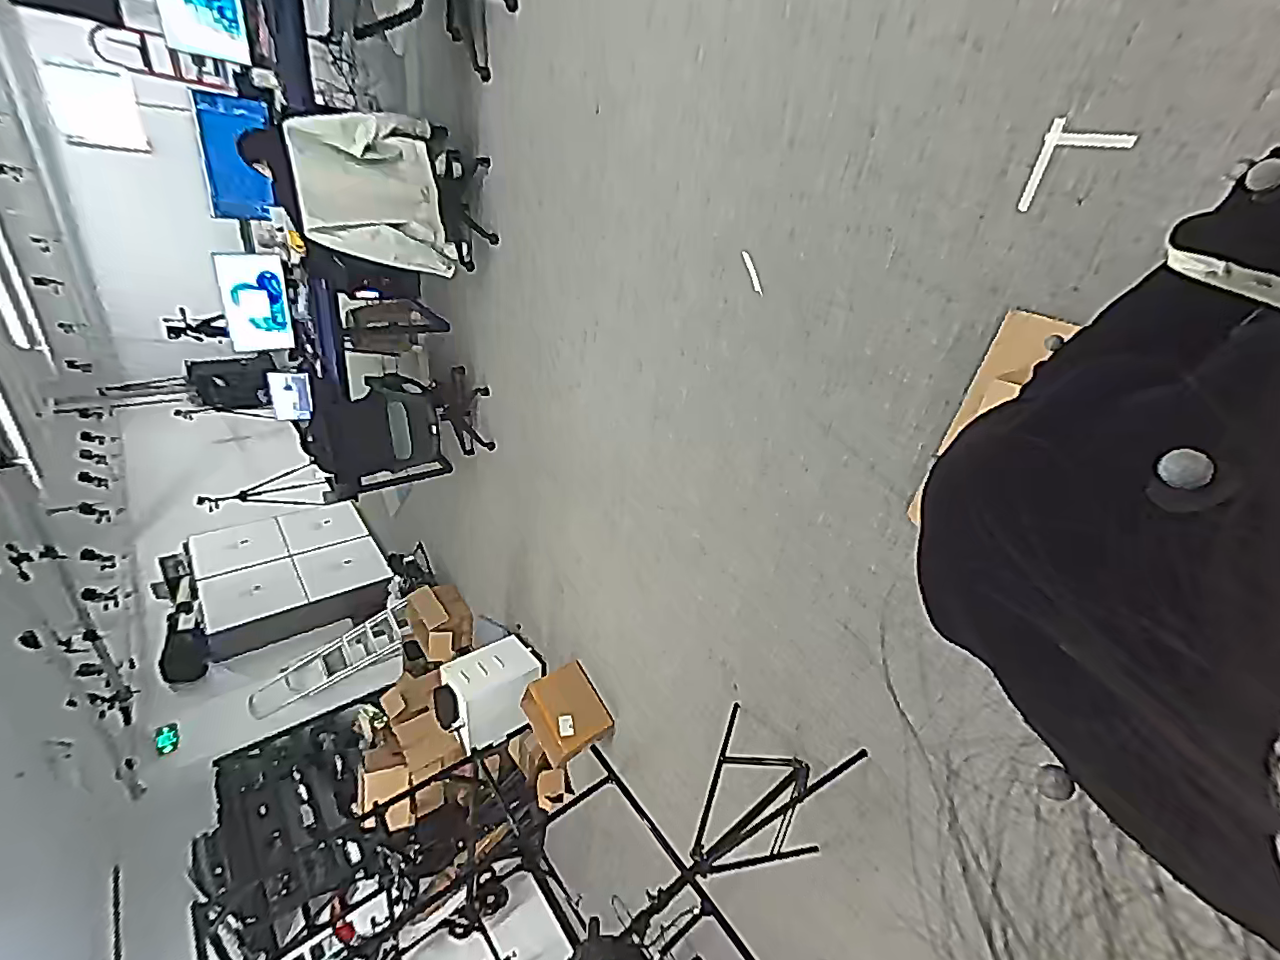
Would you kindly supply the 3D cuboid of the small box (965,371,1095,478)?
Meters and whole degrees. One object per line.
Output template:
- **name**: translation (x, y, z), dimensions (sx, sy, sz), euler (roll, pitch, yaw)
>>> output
- **small box**: translation (0.866, -0.132, 1.197), dimensions (0.168, 0.176, 0.179), euler (34, 128, 40)
